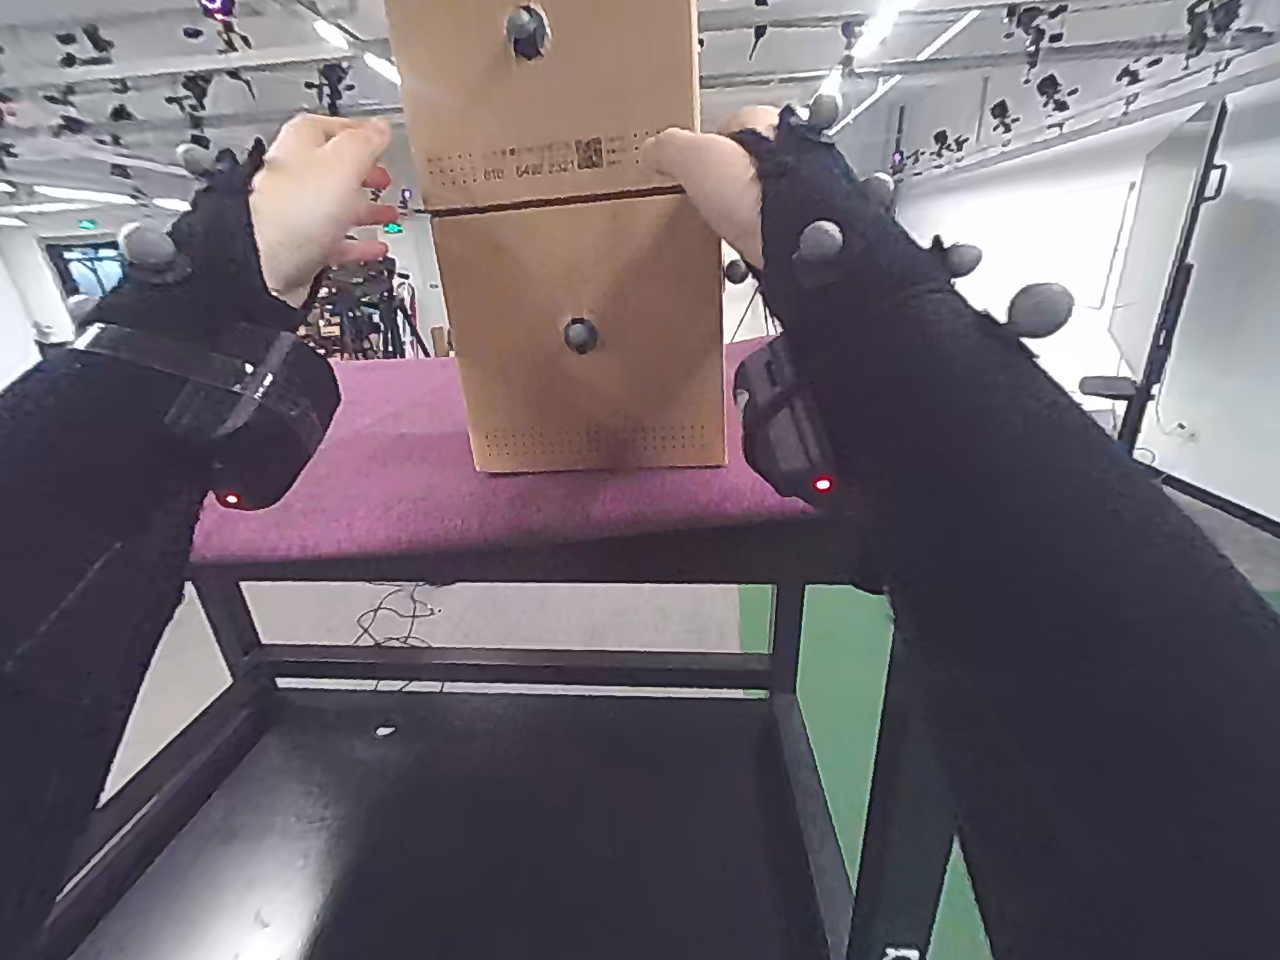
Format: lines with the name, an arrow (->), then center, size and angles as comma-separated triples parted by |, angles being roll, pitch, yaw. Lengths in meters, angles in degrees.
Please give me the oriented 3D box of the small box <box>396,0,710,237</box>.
small box -> -0.039, -0.265, 0.359 | 0.168, 0.176, 0.179 | -1, 20, 7
